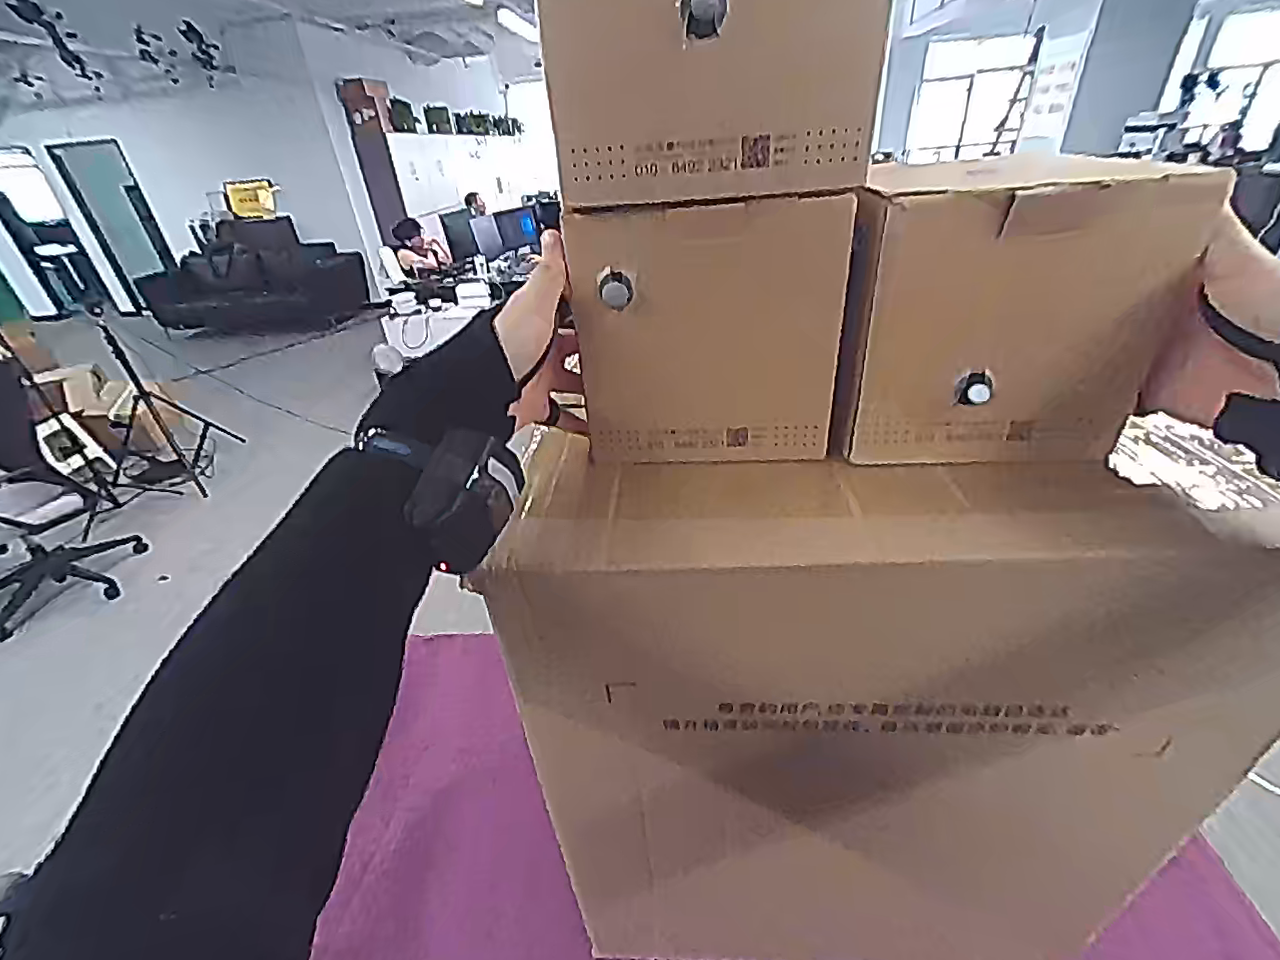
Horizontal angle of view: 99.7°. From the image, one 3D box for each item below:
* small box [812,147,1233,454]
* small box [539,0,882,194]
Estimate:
[{"bbox_3d":[0.225,-0.132,0.386,0.168,0.176,0.179,-2,33,7],"label":"small box"},{"bbox_3d":[0.035,-0.269,0.317,0.168,0.176,0.179,-3,31,2],"label":"small box"}]
